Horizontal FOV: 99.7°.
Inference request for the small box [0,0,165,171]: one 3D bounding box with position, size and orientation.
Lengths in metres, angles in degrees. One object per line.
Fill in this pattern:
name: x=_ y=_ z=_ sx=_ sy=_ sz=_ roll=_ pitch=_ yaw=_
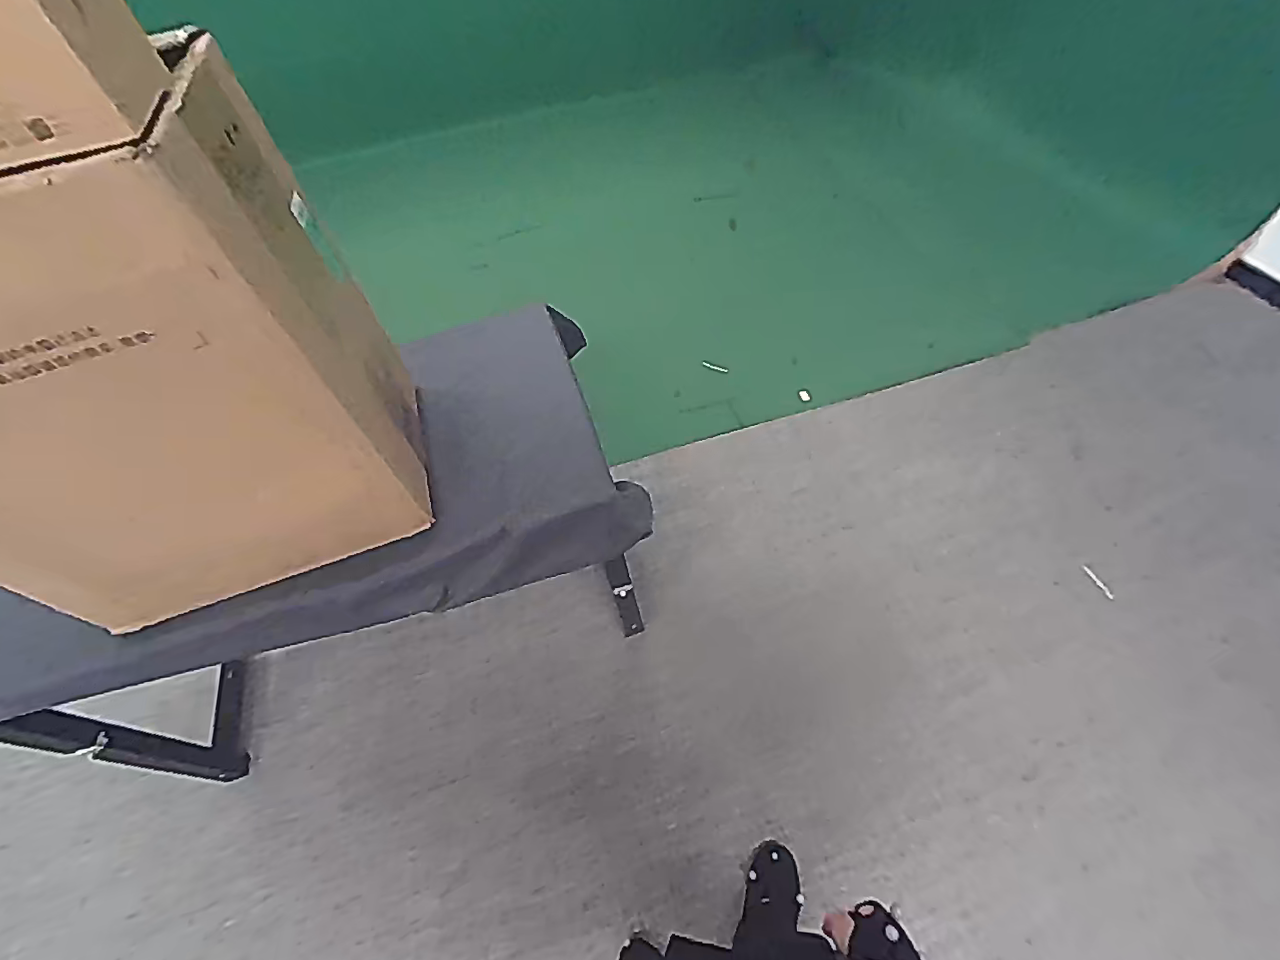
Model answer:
small box: x=-0.535 y=-0.372 z=0.431 sx=0.168 sy=0.176 sz=0.179 roll=-19 pitch=56 yaw=-8
